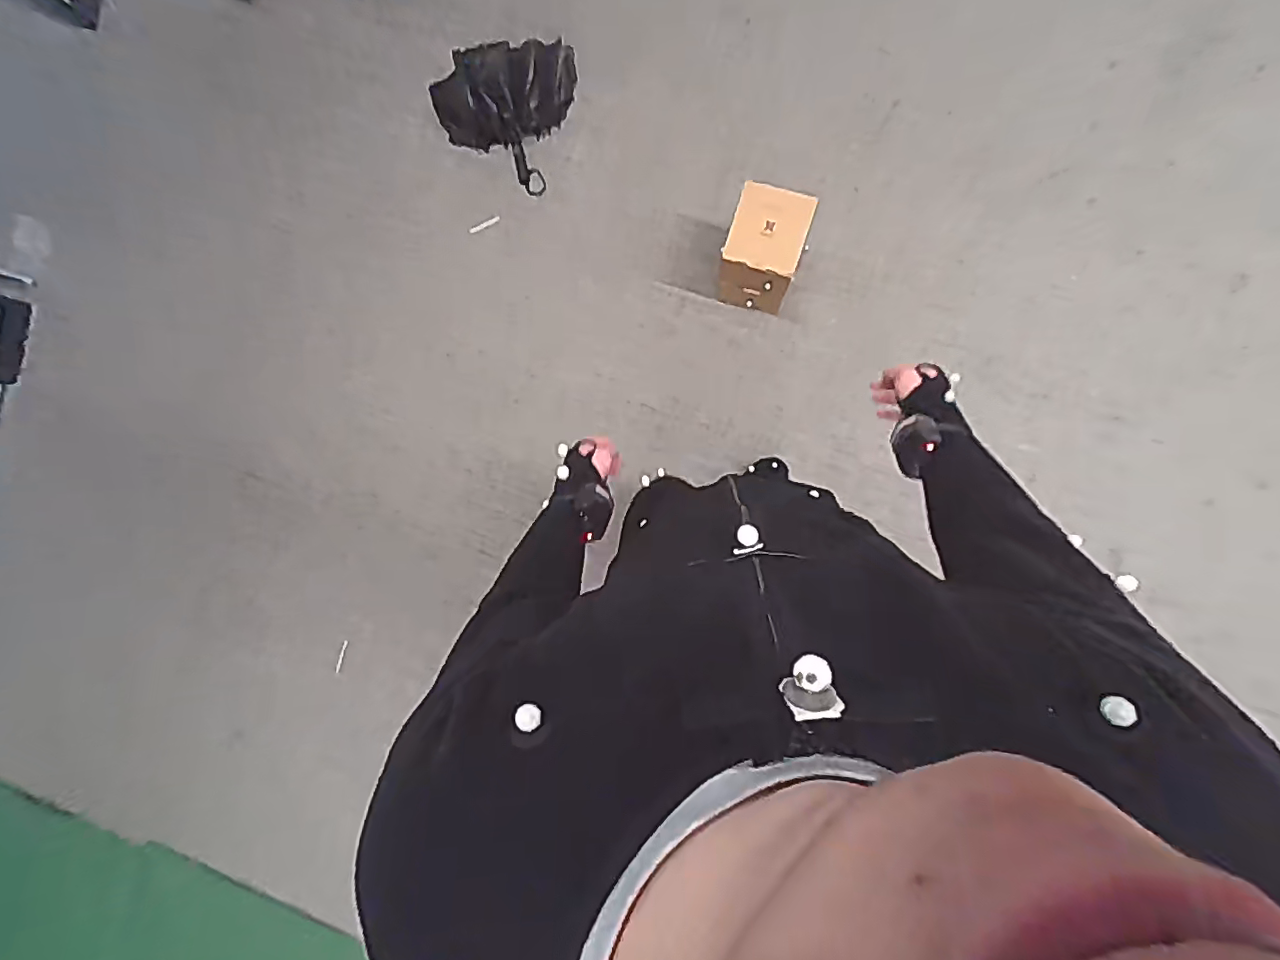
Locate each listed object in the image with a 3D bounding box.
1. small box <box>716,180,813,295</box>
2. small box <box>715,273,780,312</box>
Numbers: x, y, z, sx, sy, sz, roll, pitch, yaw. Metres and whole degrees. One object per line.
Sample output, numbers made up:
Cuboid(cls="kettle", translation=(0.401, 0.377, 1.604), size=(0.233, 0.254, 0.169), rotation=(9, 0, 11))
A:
Cuboid(cls="small box", translation=(0.280, -0.548, 1.248), size=(0.168, 0.176, 0.179), rotation=(18, 93, 6))
Cuboid(cls="small box", translation=(0.300, -0.555, 1.409), size=(0.168, 0.176, 0.179), rotation=(17, 95, 7))
